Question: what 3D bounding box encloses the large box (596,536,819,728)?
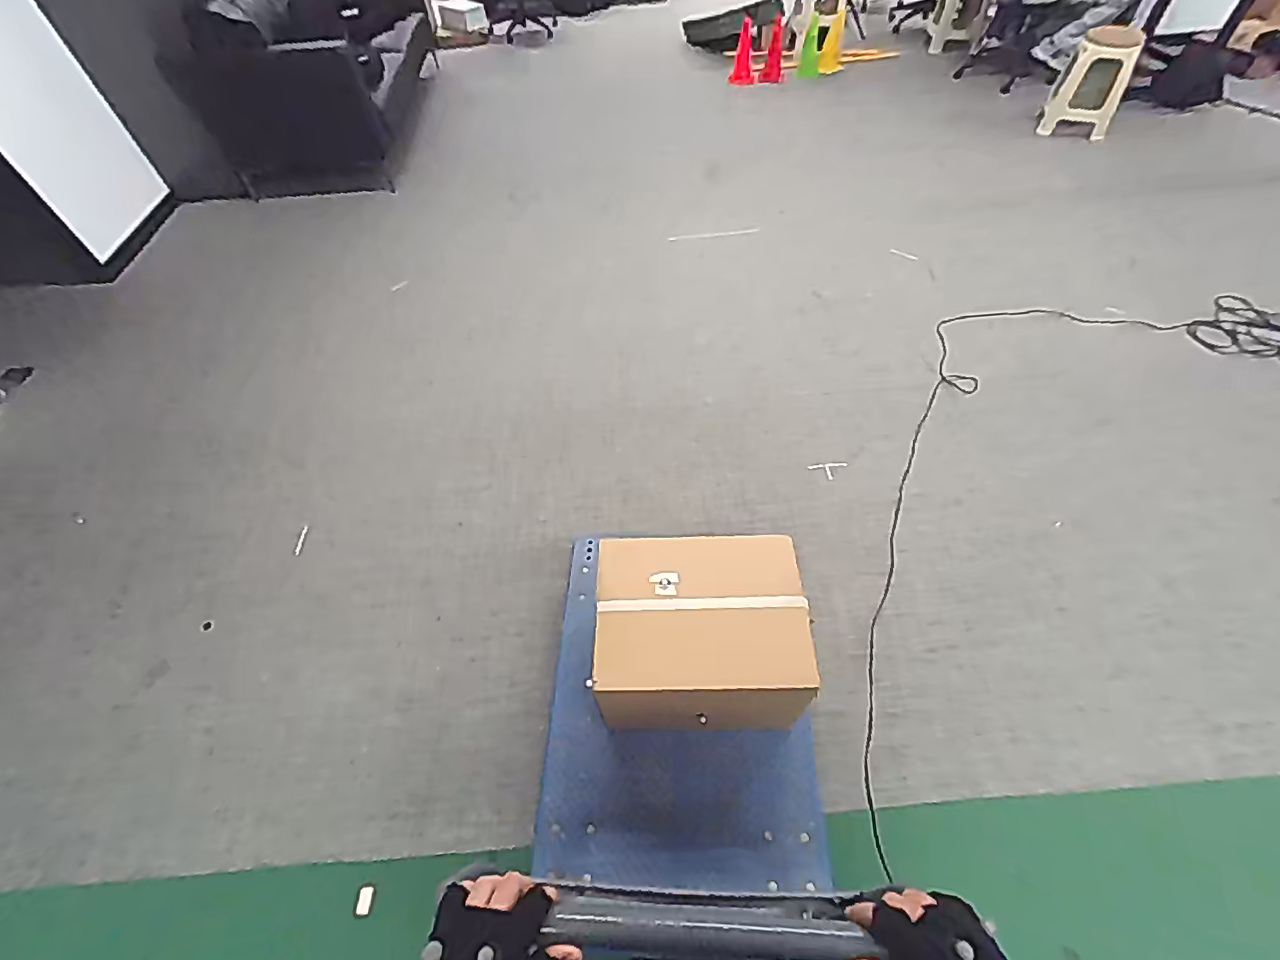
[{"bbox_3d":[0.127,0.337,1.166,0.408,0.320,0.320,-2,52,3],"label":"large box"}]
